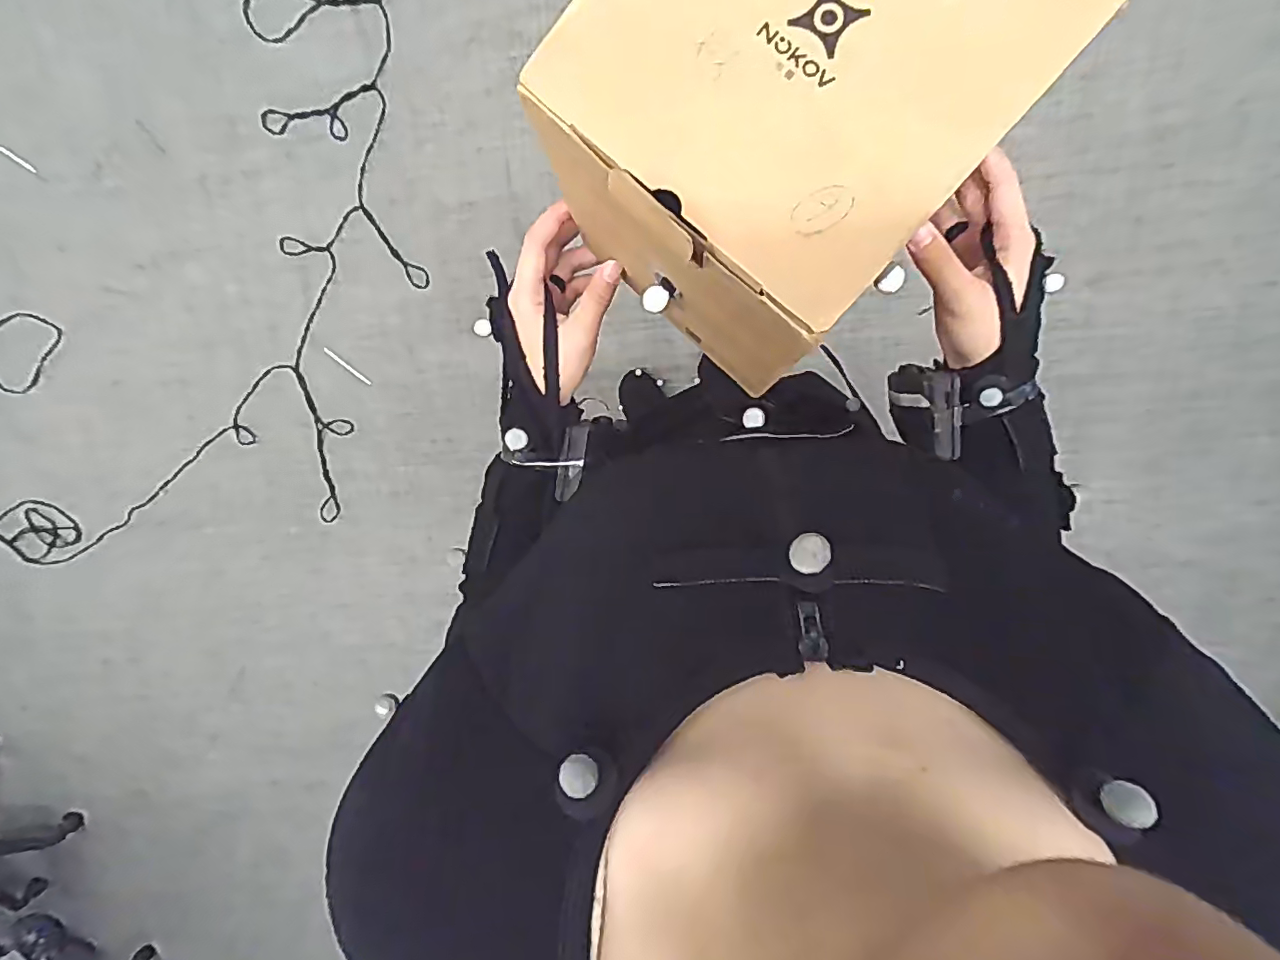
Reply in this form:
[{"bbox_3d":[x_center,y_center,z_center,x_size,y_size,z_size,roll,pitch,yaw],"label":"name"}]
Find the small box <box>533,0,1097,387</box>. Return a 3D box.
[{"bbox_3d":[0.075,-0.174,0.305,0.168,0.176,0.179,41,94,3],"label":"small box"}]
